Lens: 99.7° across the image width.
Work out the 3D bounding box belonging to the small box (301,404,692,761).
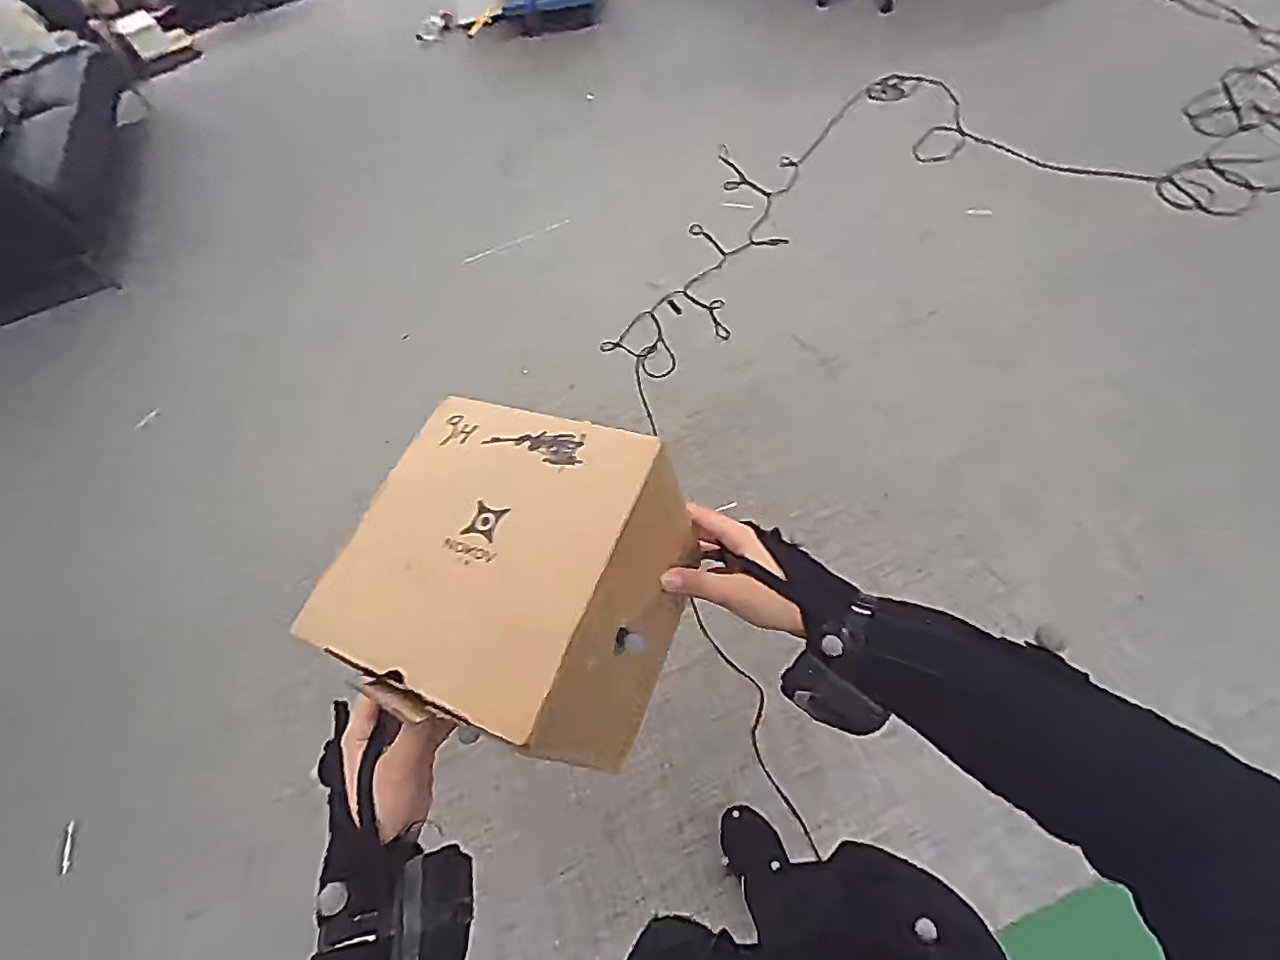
[{"bbox_3d":[-0.073,0.076,0.379,0.168,0.176,0.179,13,65,23],"label":"small box"}]
